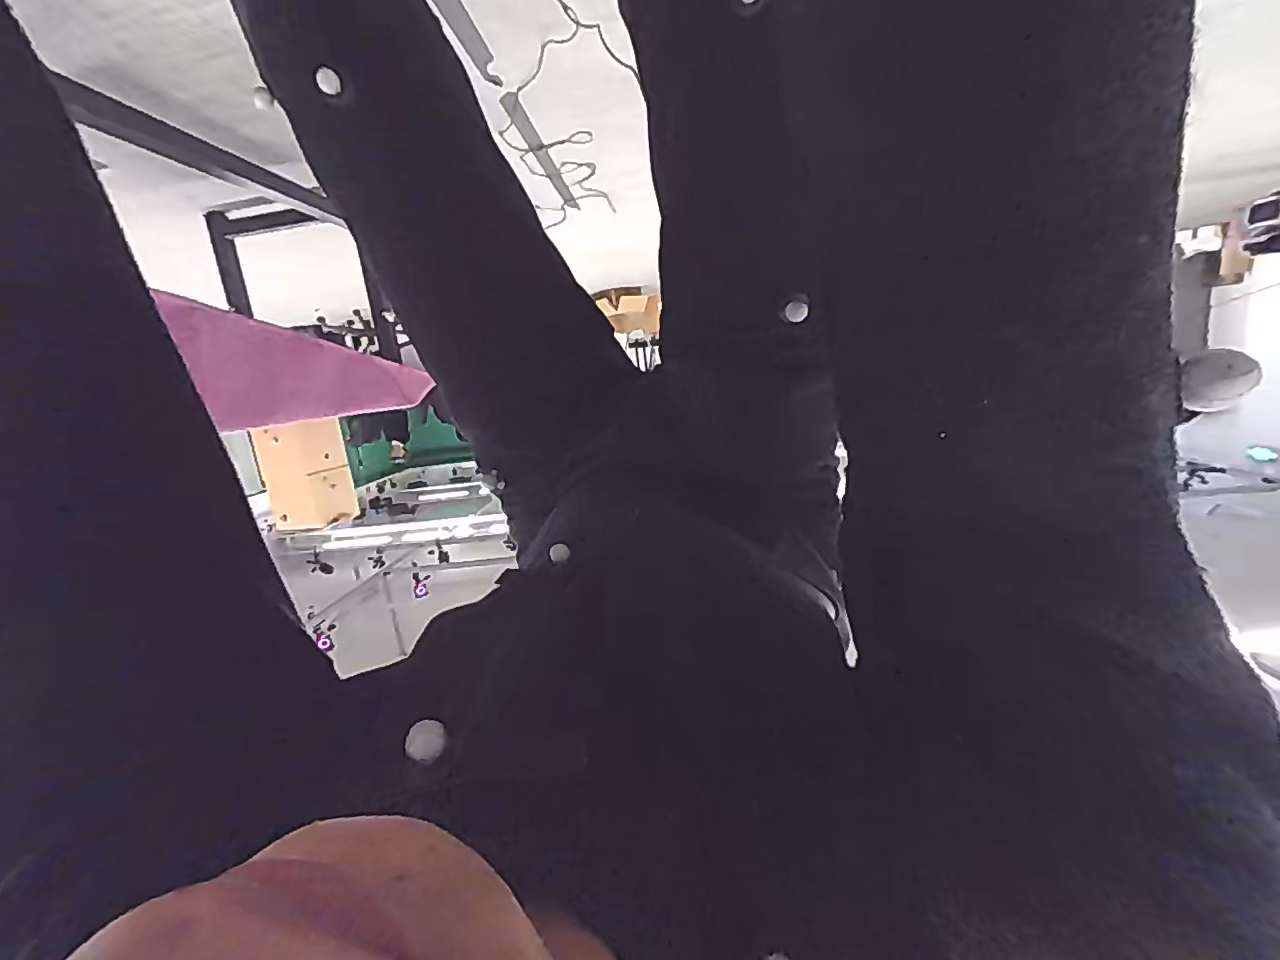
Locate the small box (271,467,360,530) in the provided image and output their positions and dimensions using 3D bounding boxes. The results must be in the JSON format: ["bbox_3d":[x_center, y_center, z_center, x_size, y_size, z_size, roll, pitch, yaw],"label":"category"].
[{"bbox_3d":[-1.039,0.053,1.727,0.179,0.176,0.168,-4,-168,17],"label":"small box"}]

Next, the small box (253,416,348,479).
[{"bbox_3d":[-1.055,-0.106,1.686,0.168,0.176,0.179,-4,-169,16],"label":"small box"}]
